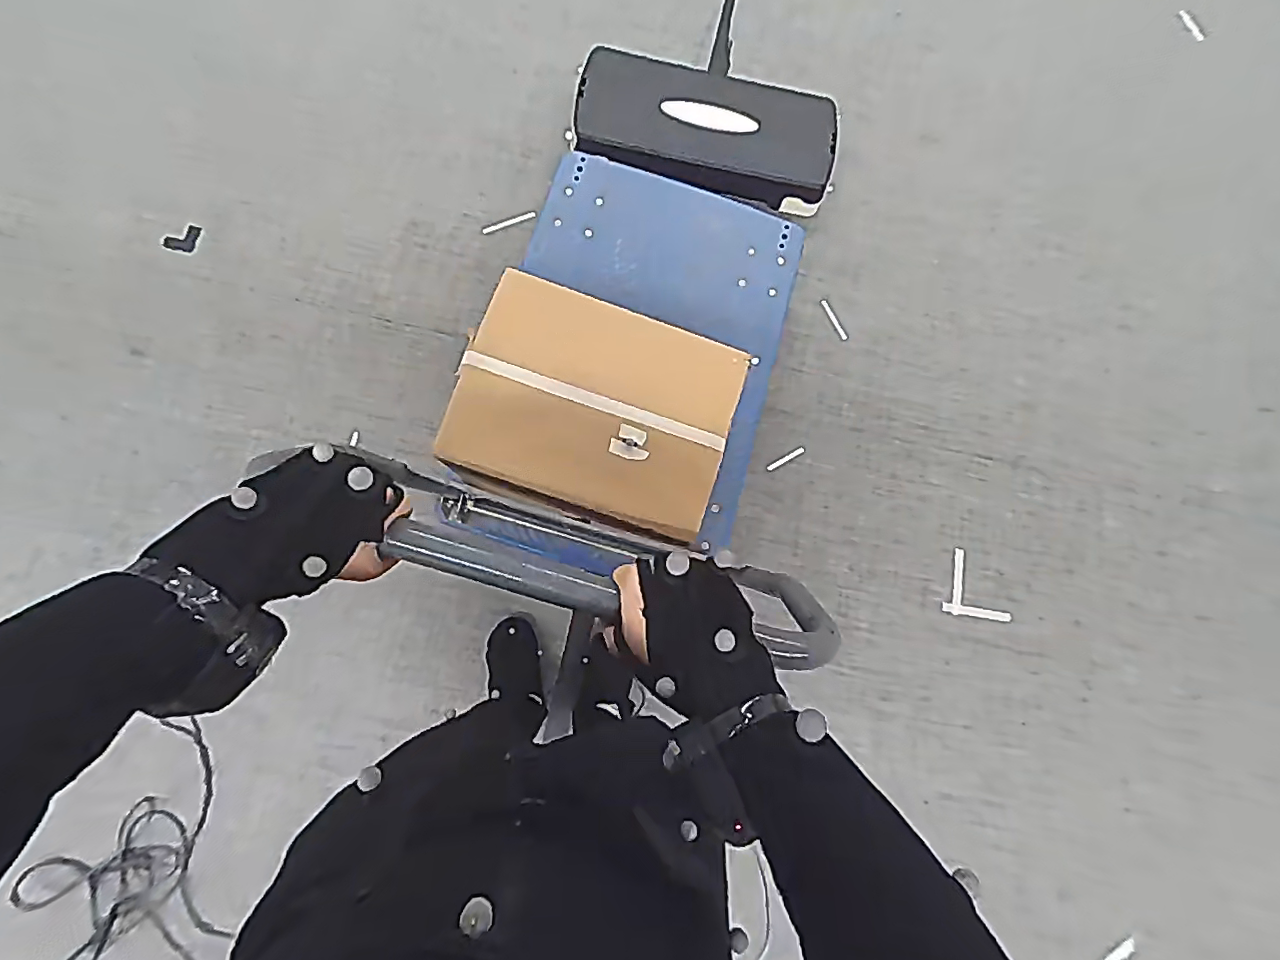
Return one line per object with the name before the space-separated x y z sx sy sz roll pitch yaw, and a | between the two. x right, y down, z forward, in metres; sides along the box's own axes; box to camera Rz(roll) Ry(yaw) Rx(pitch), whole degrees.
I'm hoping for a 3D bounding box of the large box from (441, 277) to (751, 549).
large box | -0.074 -0.087 0.958 0.408 0.320 0.320 19 80 -3
